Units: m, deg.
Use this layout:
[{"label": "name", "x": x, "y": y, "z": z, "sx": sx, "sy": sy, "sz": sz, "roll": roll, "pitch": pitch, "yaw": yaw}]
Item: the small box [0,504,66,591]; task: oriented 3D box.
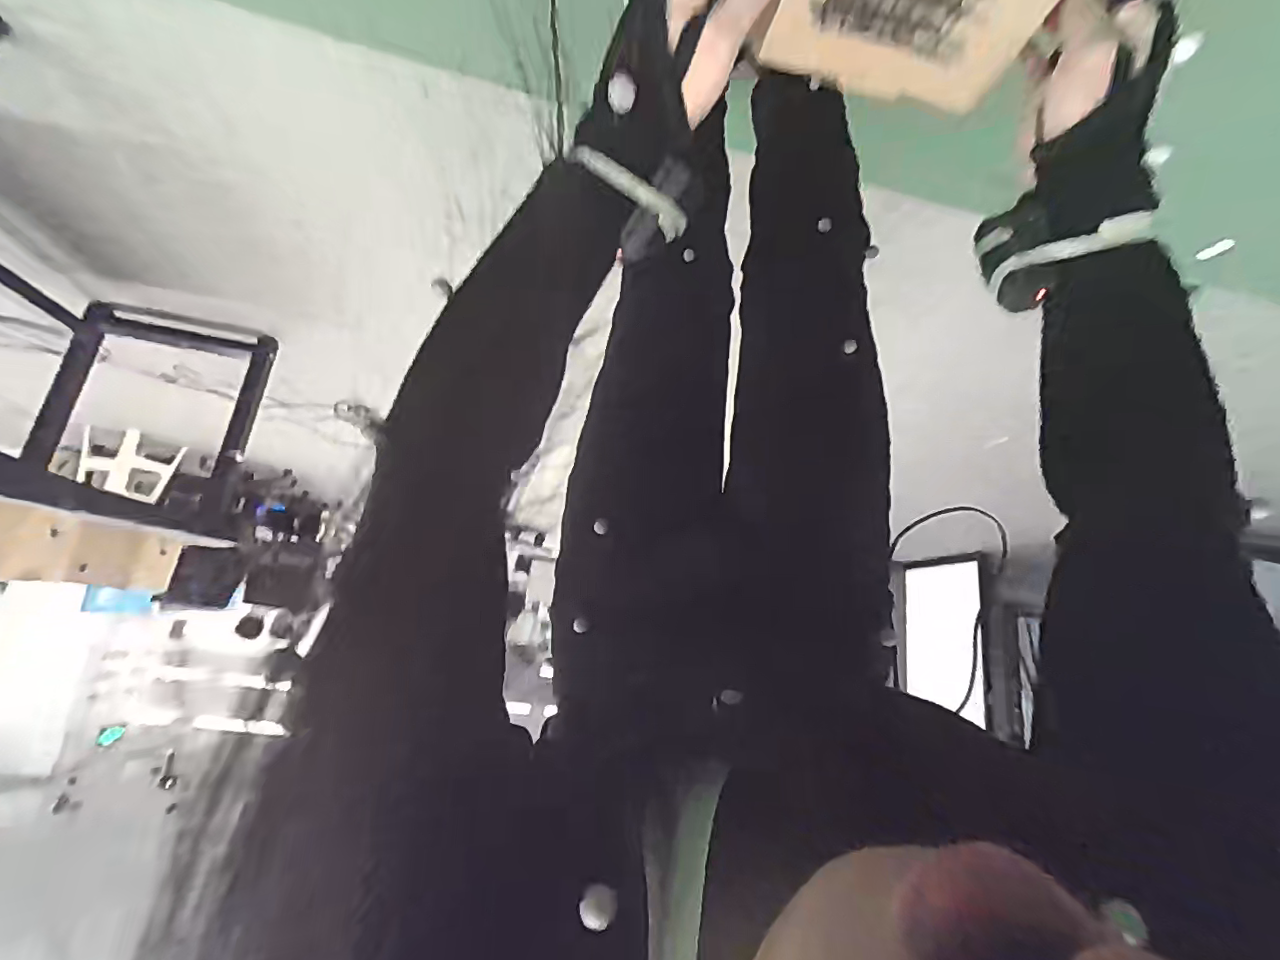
[{"label": "small box", "x": -1.440, "y": 0.141, "z": 1.181, "sx": 0.179, "sy": 0.176, "sz": 0.168, "roll": 10, "pitch": 163, "yaw": -10}]

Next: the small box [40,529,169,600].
[{"label": "small box", "x": -1.507, "y": 0.239, "z": 1.536, "sx": 0.179, "sy": 0.176, "sz": 0.168, "roll": 10, "pitch": 164, "yaw": -9}]
